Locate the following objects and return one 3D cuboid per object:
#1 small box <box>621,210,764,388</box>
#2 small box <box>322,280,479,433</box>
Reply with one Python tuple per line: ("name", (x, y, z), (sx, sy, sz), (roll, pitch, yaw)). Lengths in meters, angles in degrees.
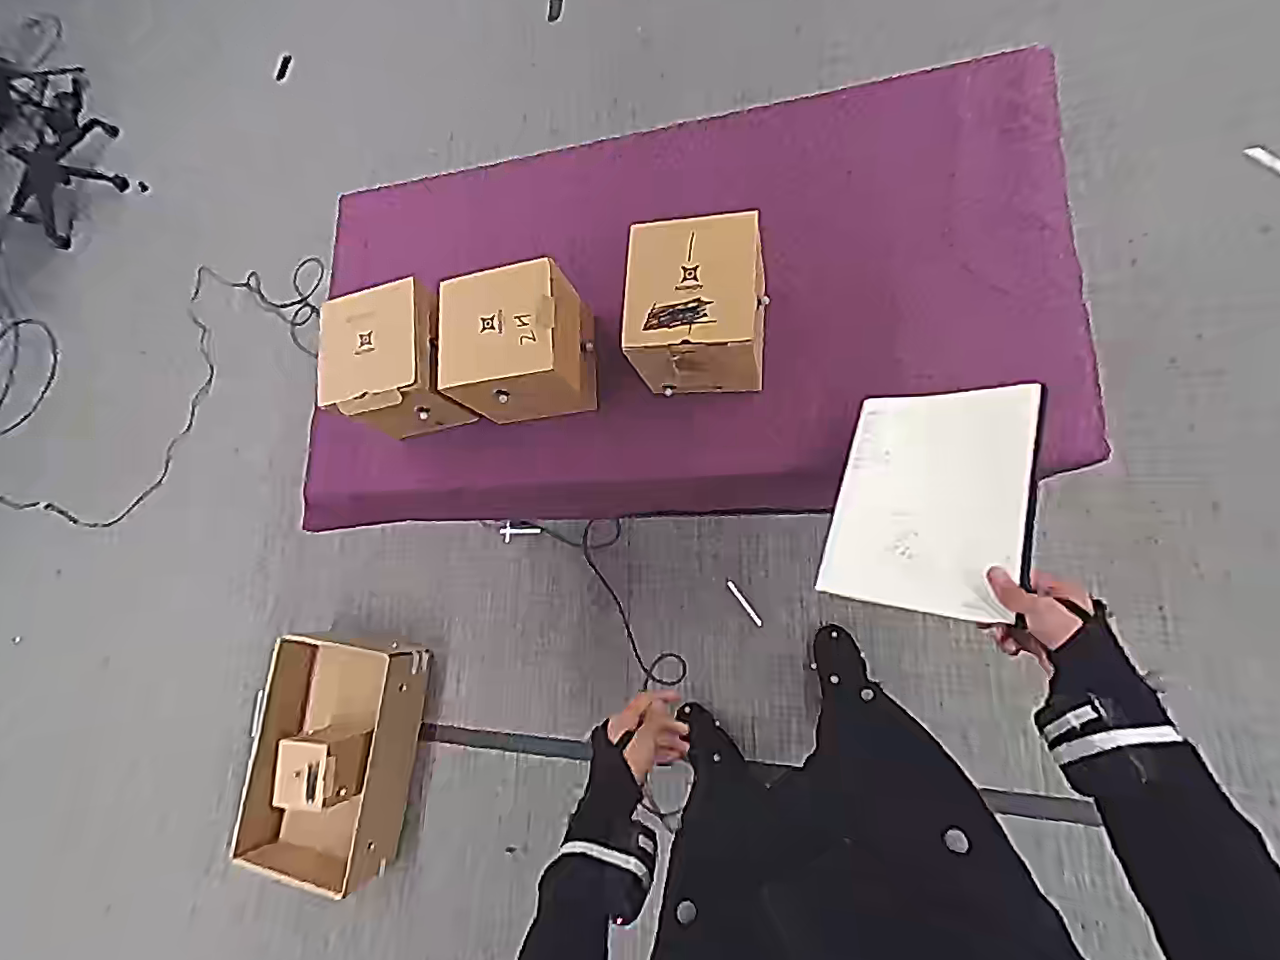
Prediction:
("small box", (0.082, -0.232, 0.744), (0.168, 0.176, 0.179), (1, 79, 16))
("small box", (-0.373, -0.183, 0.865), (0.168, 0.176, 0.179), (-10, 76, 13))
